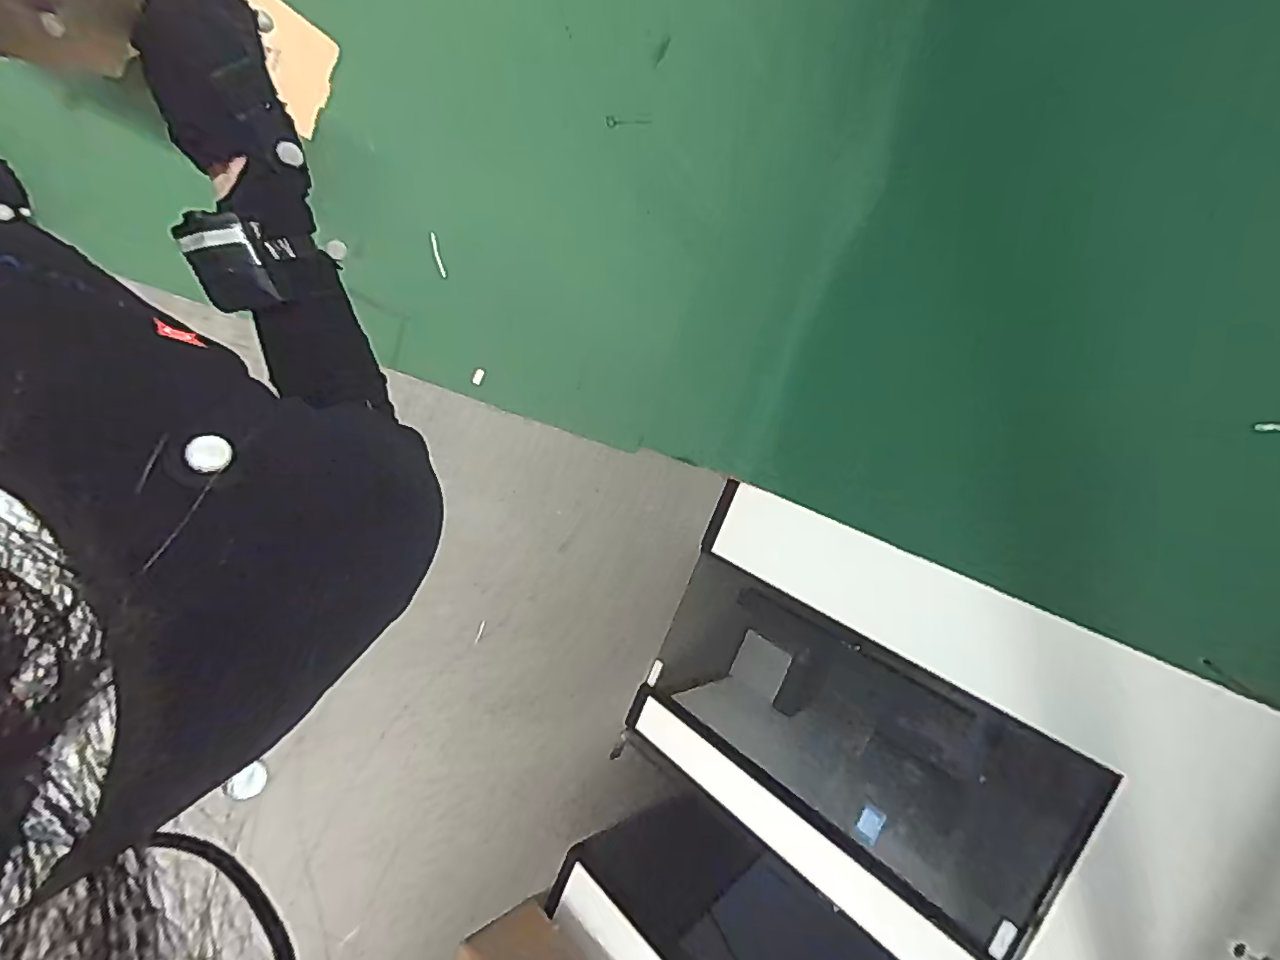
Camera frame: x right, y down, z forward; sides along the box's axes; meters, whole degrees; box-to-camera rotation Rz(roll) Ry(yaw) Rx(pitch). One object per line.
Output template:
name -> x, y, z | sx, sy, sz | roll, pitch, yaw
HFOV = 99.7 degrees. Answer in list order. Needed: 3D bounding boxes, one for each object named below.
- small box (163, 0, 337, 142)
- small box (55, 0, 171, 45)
small box -> -0.658, -0.709, 0.913 | 0.179, 0.176, 0.168 | 16, 98, -54
small box -> -0.770, -0.751, 0.751 | 0.179, 0.176, 0.168 | 24, 93, -53
